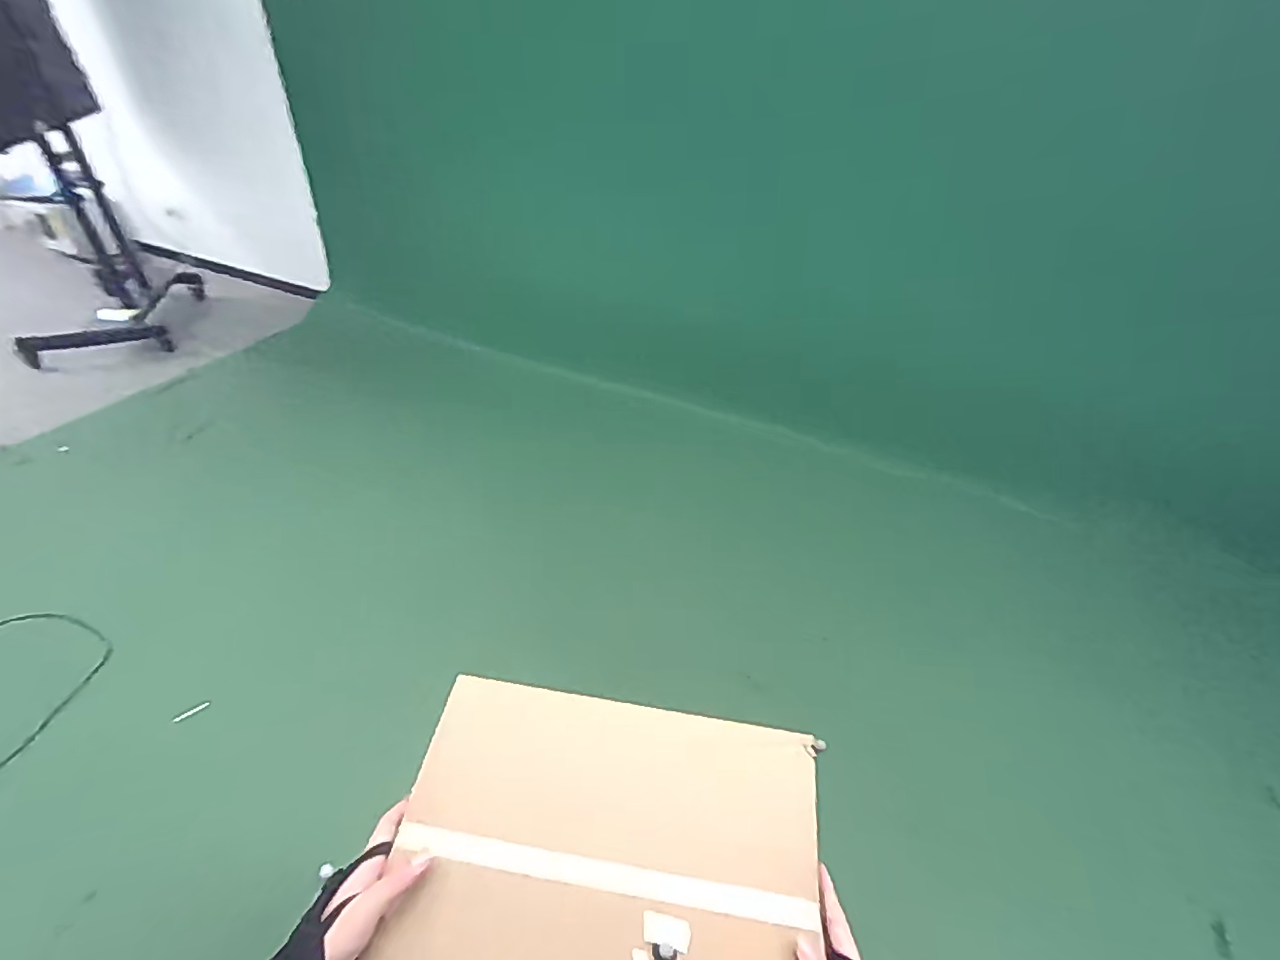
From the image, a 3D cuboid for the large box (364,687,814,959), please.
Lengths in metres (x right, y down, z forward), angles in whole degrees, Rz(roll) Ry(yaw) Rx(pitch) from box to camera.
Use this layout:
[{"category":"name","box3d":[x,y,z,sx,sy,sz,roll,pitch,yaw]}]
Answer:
[{"category":"large box","box3d":[-0.040,0.474,0.633,0.408,0.320,0.320,8,51,5]}]
